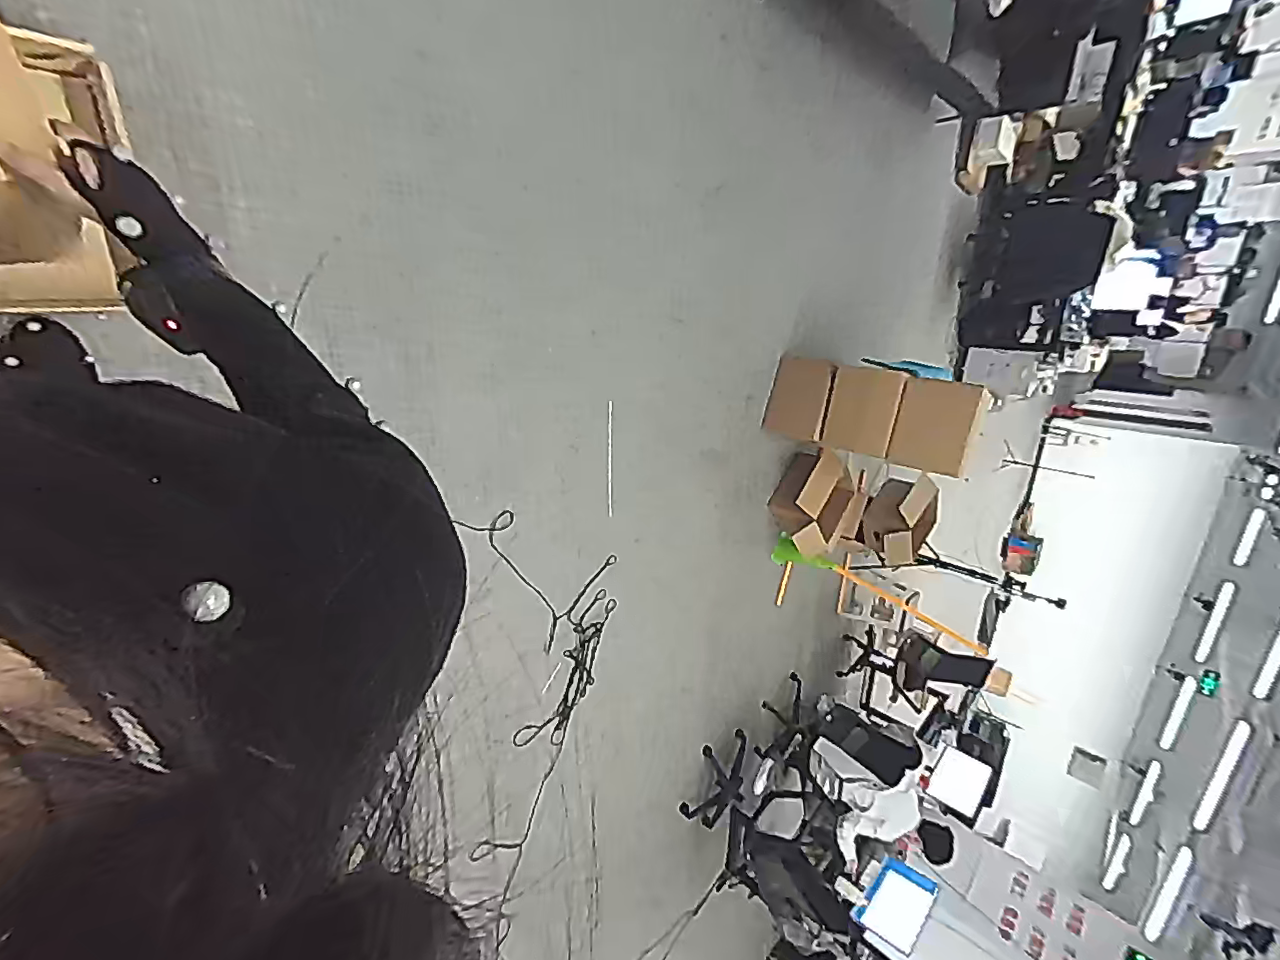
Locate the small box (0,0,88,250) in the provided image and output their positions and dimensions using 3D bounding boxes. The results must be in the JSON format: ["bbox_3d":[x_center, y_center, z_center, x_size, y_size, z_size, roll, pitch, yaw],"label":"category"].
[{"bbox_3d":[-0.622,-0.308,0.459,0.179,0.176,0.168,-27,102,-43],"label":"small box"}]
